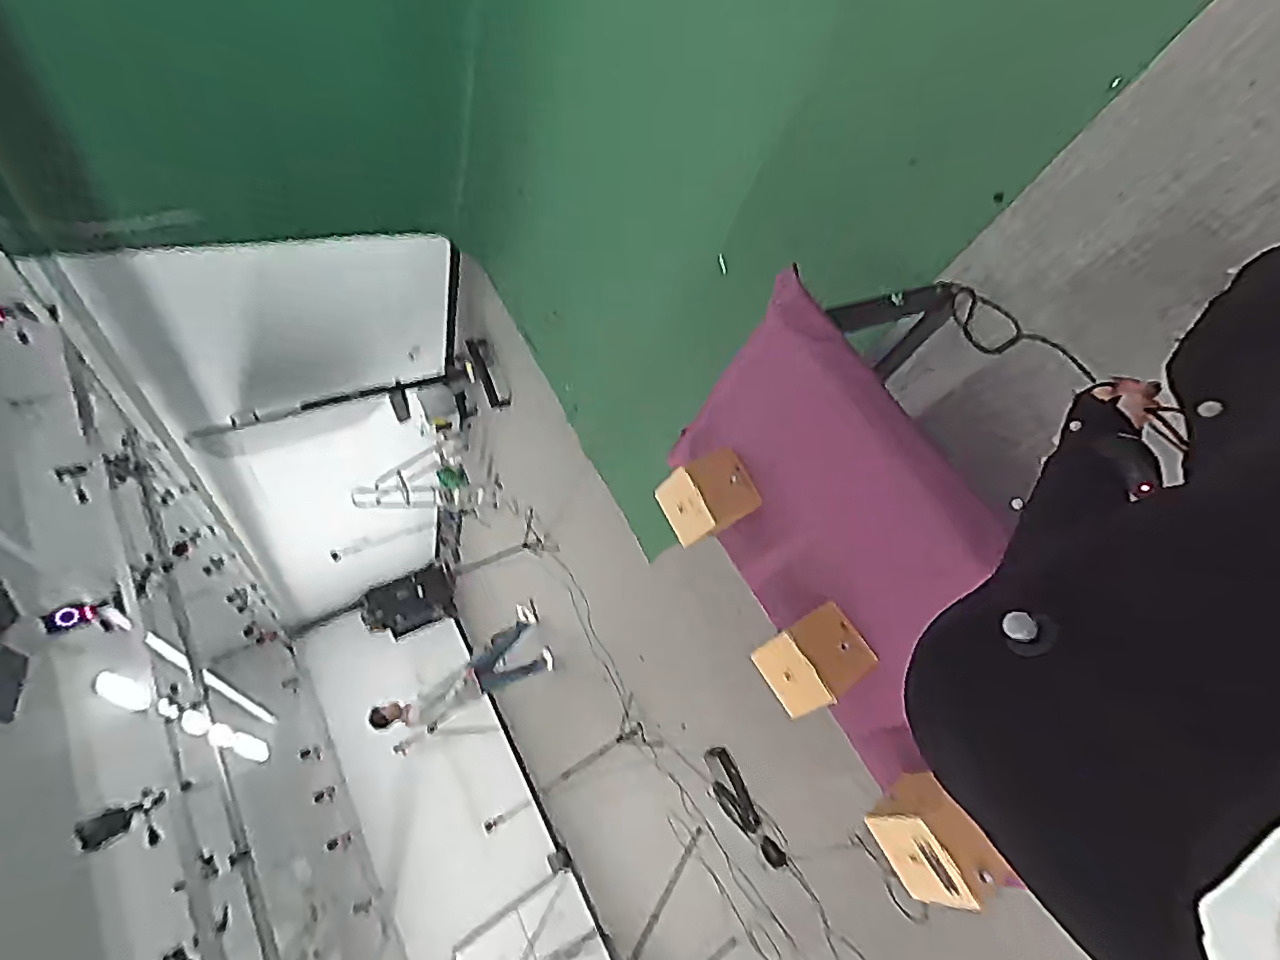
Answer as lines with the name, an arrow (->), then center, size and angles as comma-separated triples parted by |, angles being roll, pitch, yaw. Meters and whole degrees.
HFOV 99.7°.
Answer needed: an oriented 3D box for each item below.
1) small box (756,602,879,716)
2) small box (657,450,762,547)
small box -> 0.410, 0.412, 1.252 | 0.168, 0.176, 0.179 | 55, 145, 22
small box -> 0.179, 0.047, 1.386 | 0.168, 0.176, 0.179 | 60, 147, 12
